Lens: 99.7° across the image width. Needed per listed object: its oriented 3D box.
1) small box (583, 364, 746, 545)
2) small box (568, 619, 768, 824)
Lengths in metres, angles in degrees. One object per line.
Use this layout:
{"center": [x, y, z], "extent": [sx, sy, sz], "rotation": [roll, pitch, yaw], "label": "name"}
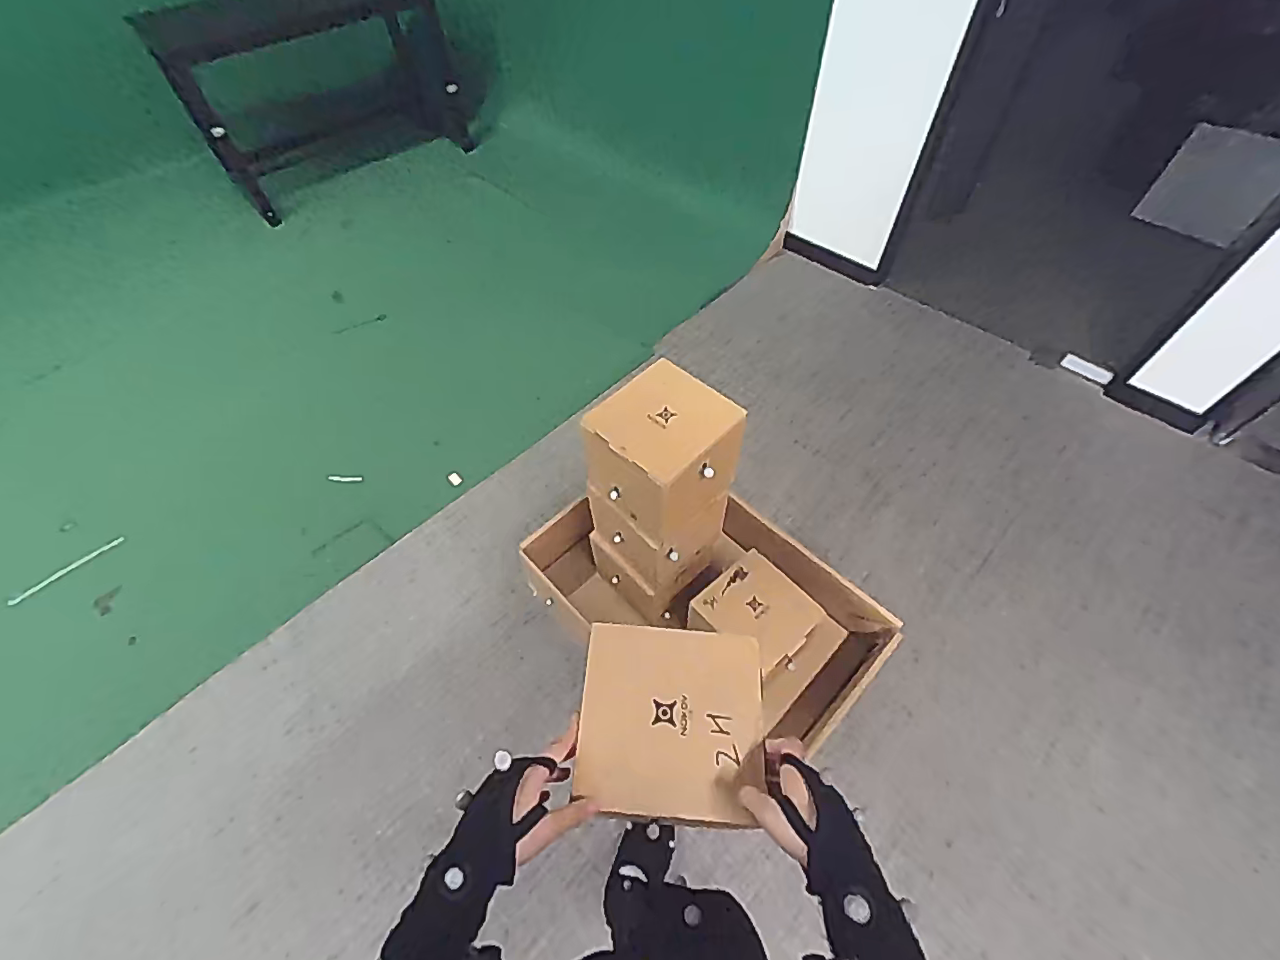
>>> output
{"center": [0.035, -0.036, 0.822], "extent": [0.168, 0.176, 0.179], "rotation": [37, 64, 25], "label": "small box"}
{"center": [0.027, 0.259, 0.573], "extent": [0.179, 0.176, 0.168], "rotation": [5, 56, 0], "label": "small box"}
